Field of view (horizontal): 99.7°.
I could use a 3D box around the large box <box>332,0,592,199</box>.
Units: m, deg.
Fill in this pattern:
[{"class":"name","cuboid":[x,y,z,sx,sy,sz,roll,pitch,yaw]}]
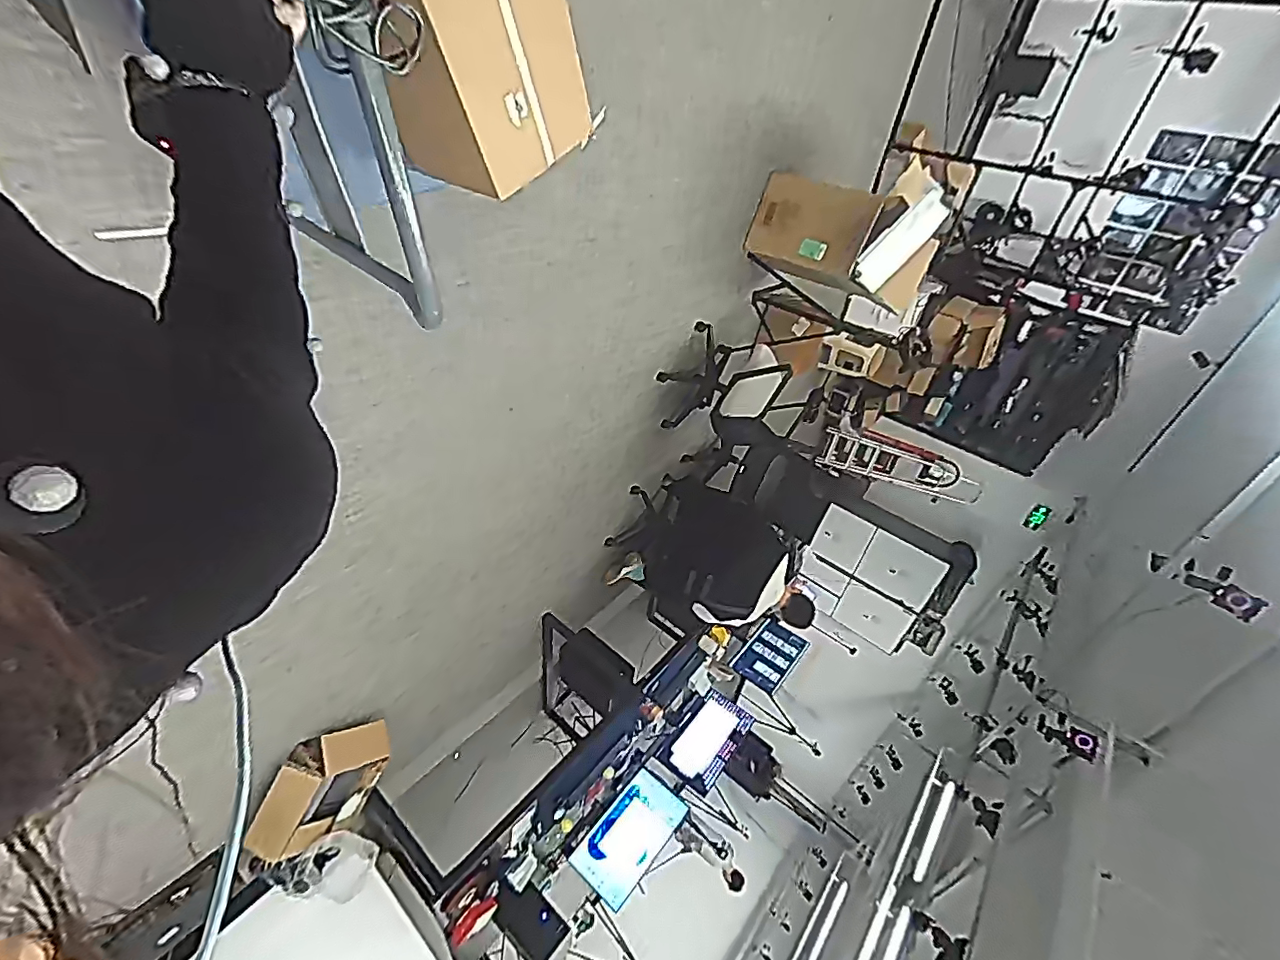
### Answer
[{"class":"large box","cuboid":[-0.352,-0.877,1.102,0.320,0.320,0.408,-48,152,-19]}]
